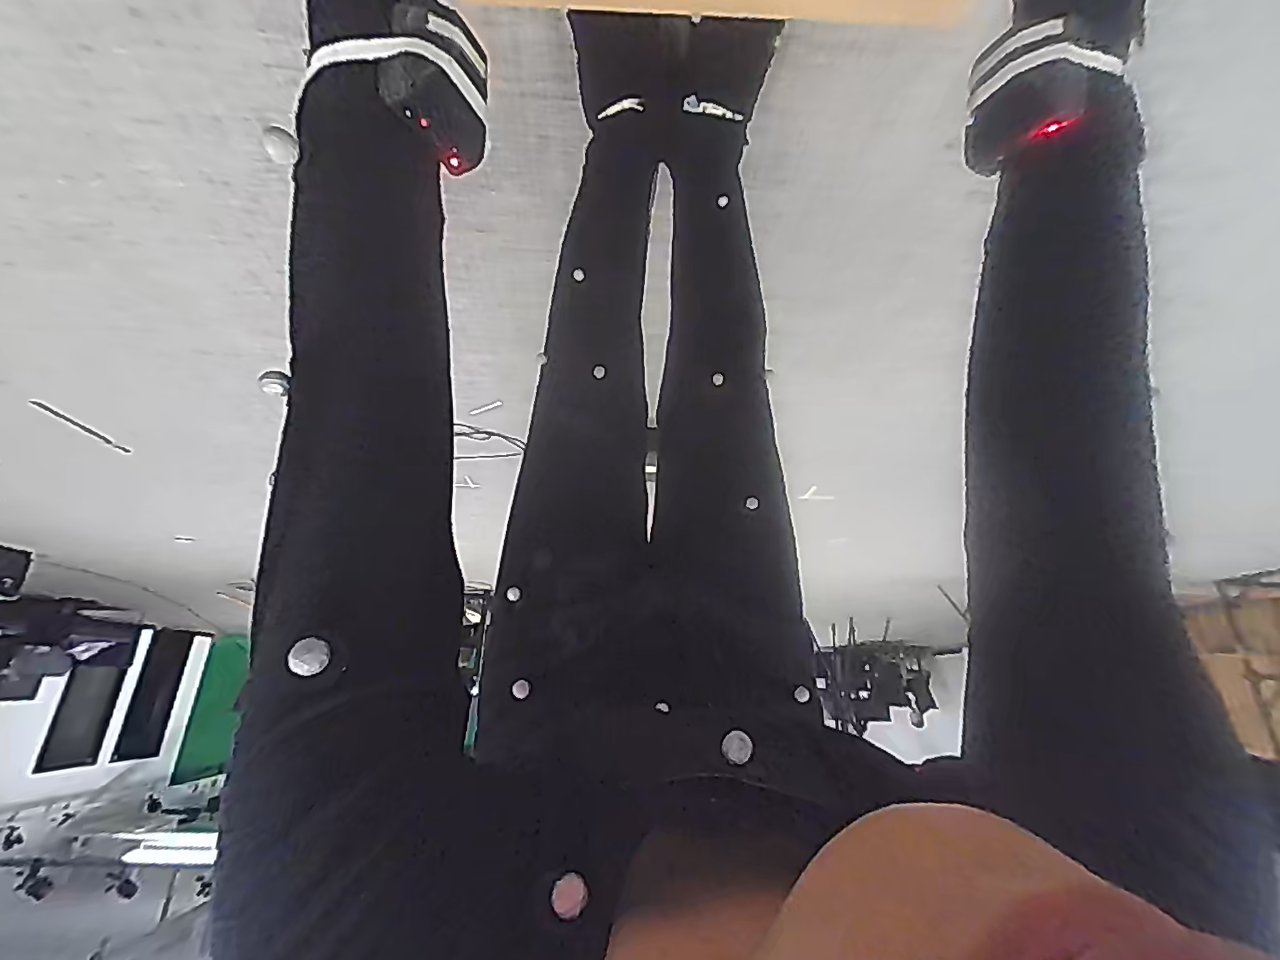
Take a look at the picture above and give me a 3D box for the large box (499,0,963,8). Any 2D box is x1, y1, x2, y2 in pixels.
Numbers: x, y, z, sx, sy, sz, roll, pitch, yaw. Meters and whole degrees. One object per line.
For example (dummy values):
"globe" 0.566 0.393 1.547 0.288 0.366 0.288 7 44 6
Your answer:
"large box" 0.063 -0.575 0.346 0.408 0.320 0.320 1 159 -2
